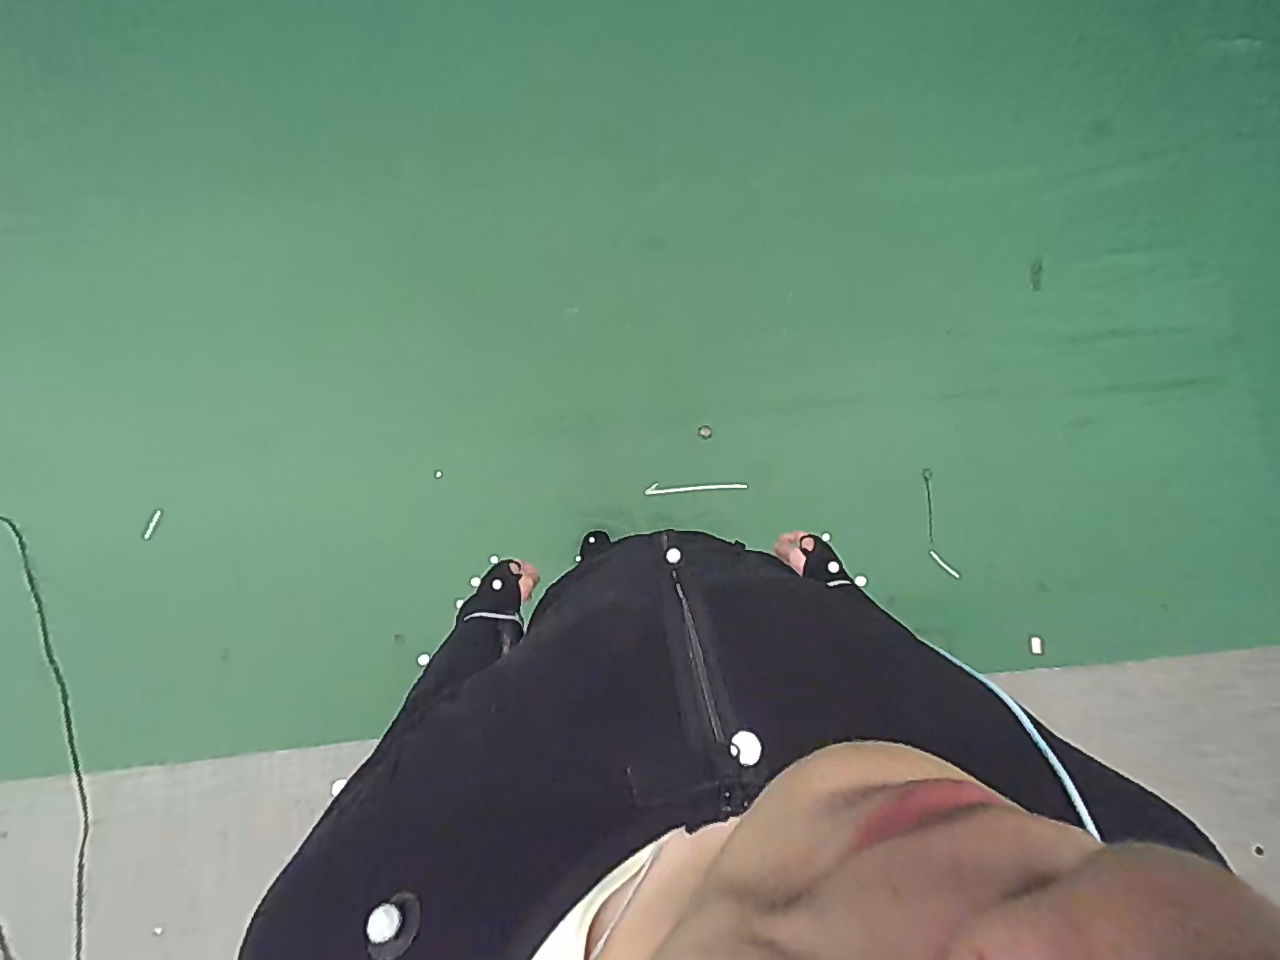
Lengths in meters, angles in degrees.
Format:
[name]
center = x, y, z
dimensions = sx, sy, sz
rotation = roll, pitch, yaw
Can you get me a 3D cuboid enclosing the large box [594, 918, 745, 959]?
[large box]
center = 0.095, 1.422, 1.389
dimensions = 0.408, 0.320, 0.320
rotation = -7, 85, -4
